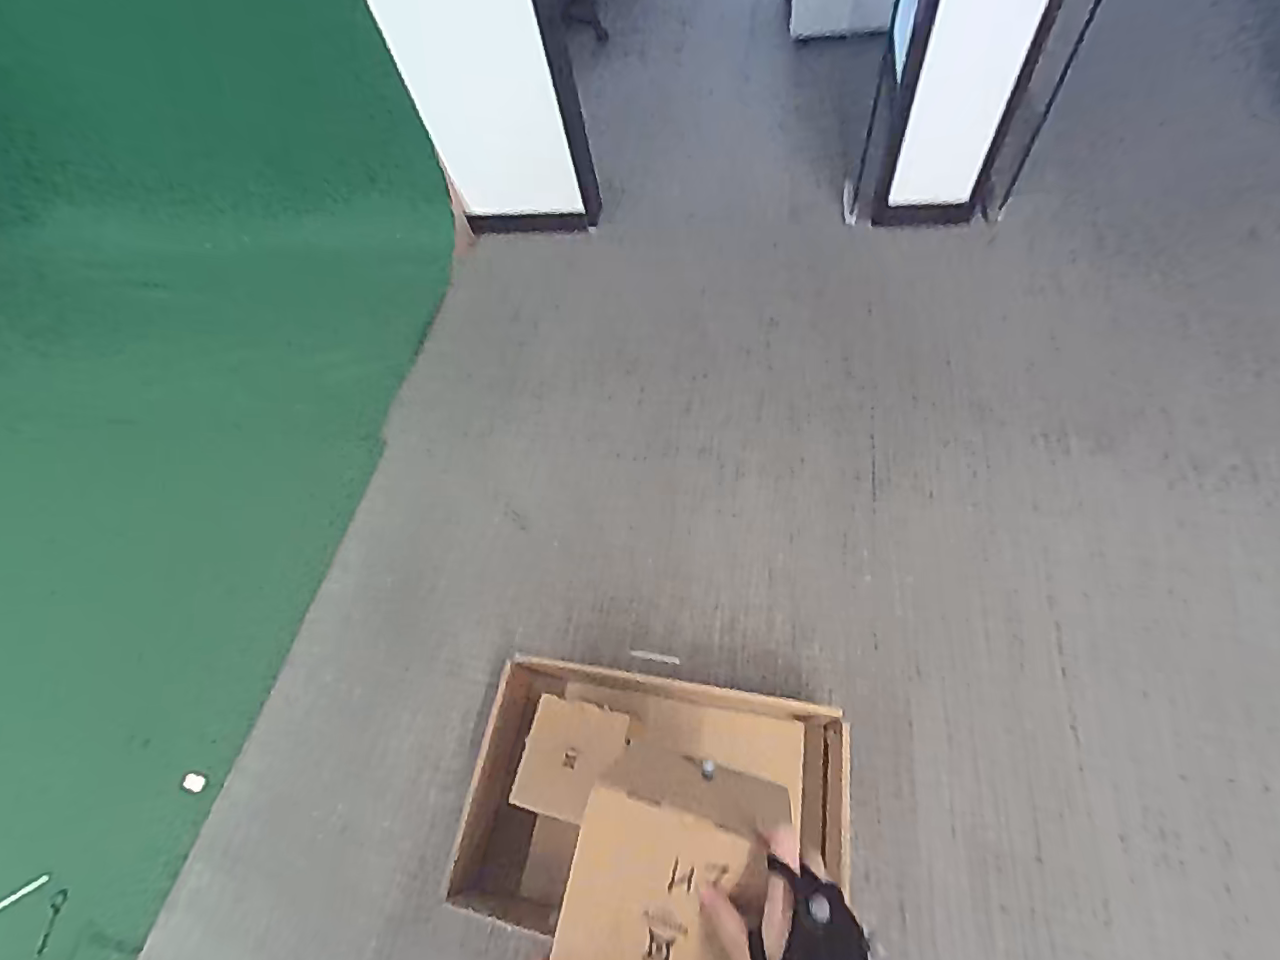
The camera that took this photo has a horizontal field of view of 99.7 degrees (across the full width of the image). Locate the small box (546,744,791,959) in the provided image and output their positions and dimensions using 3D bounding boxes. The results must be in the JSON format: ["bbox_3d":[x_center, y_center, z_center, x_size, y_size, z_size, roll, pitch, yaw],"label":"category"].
[{"bbox_3d":[0.034,0.363,0.476,0.168,0.176,0.179,11,80,16],"label":"small box"}]

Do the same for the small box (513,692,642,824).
[{"bbox_3d":[-0.101,0.504,0.975,0.168,0.176,0.179,9,62,14],"label":"small box"}]
